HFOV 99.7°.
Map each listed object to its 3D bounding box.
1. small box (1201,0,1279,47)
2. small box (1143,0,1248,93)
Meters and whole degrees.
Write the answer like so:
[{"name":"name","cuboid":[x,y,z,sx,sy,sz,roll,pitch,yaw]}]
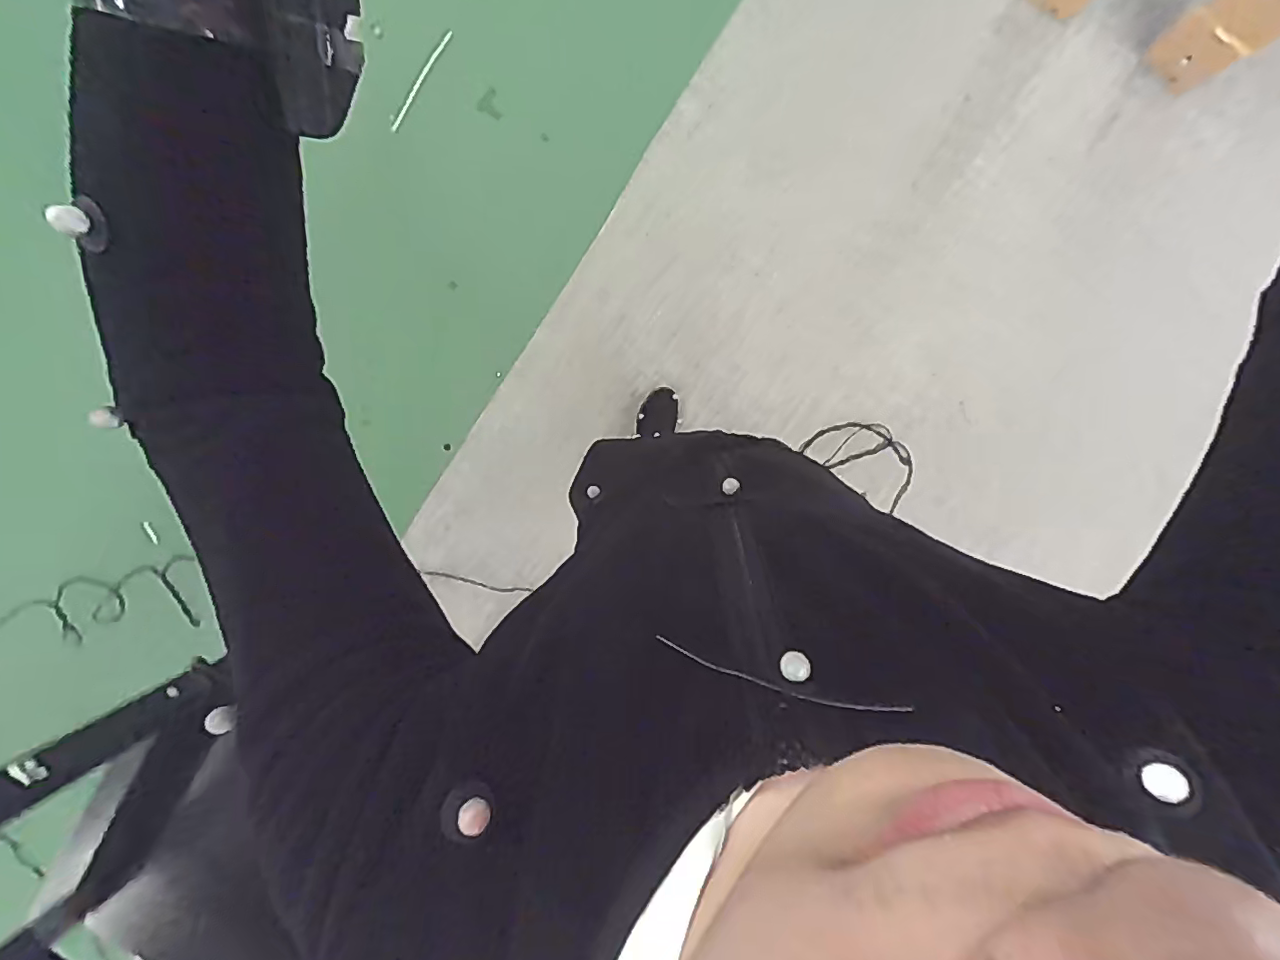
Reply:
[{"name":"small box","cuboid":[1.458,-1.134,1.216,0.179,0.176,0.168,39,95,-1]},{"name":"small box","cuboid":[1.452,-1.148,1.378,0.168,0.176,0.179,41,96,-2]}]
